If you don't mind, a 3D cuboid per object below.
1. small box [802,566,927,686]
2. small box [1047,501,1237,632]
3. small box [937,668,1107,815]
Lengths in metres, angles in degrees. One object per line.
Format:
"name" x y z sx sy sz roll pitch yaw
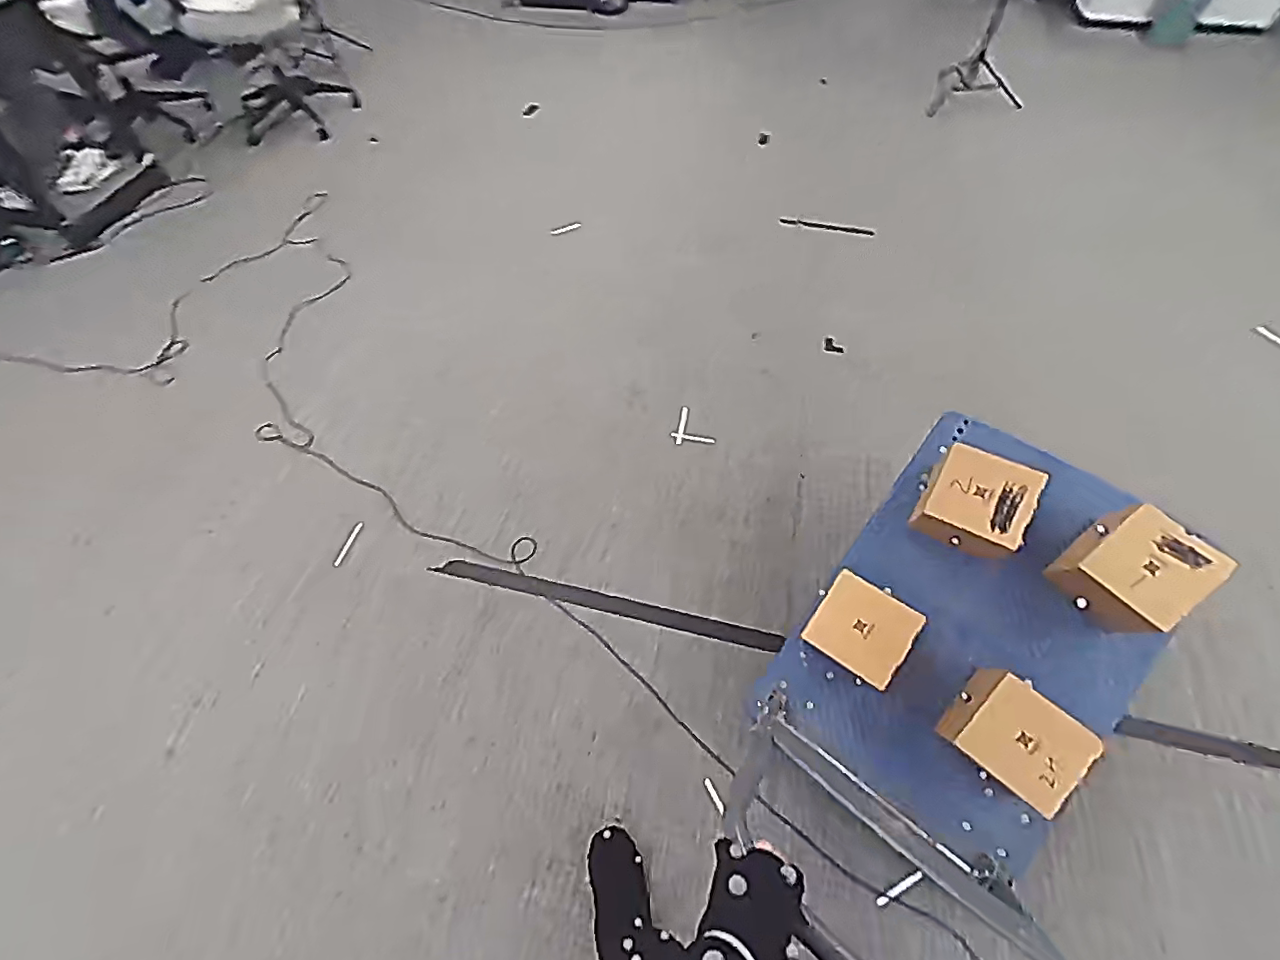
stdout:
"small box" 0.455 0.304 1.130 0.179 0.176 0.168 32 85 20
"small box" 0.938 0.169 1.035 0.179 0.176 0.168 -44 68 1
"small box" 0.697 0.474 1.013 0.179 0.176 0.168 39 88 22
